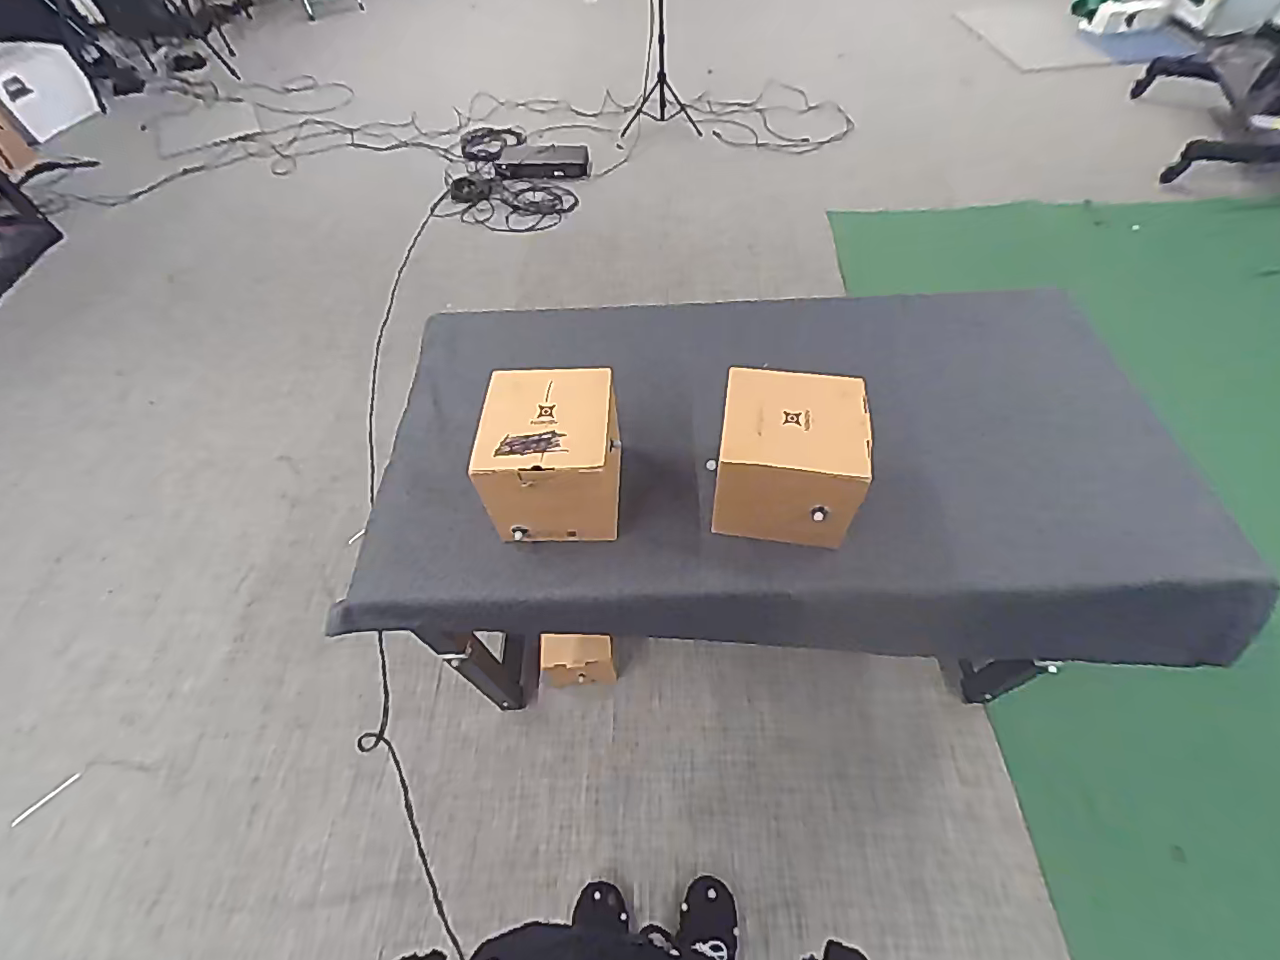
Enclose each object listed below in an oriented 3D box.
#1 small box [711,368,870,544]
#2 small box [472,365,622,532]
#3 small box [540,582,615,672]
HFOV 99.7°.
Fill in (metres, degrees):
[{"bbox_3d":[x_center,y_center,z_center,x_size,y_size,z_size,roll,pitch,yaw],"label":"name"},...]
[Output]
[{"bbox_3d":[0.197,-0.028,0.740,0.179,0.176,0.168,7,55,8],"label":"small box"},{"bbox_3d":[-0.115,-0.039,0.757,0.168,0.176,0.179,0,54,3],"label":"small box"},{"bbox_3d":[-0.153,0.376,1.362,0.168,0.176,0.179,-5,56,-1],"label":"small box"}]
